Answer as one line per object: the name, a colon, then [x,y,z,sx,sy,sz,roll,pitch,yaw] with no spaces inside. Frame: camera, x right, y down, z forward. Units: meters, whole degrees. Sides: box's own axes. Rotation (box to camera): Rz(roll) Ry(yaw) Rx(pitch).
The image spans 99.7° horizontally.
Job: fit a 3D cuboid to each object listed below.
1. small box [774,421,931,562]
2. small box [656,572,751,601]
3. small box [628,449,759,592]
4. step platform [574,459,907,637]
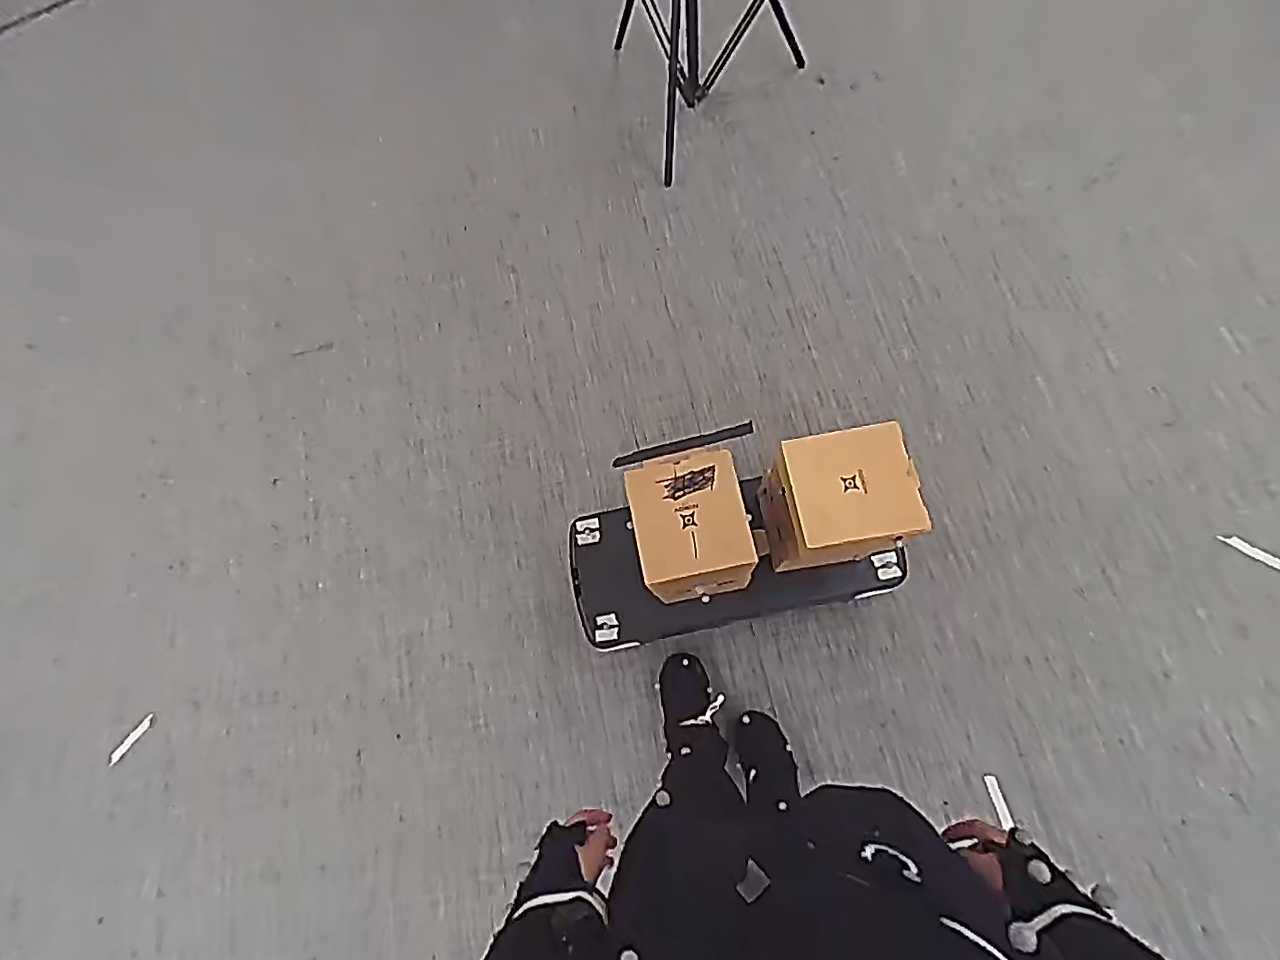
small box: [0.315,0.027,0.849,0.179,0.176,0.168,-10,72,3]
small box: [0.104,0.122,1.018,0.168,0.176,0.179,-12,72,4]
small box: [0.082,0.072,0.862,0.168,0.176,0.179,-12,73,3]
step platform: [0.202,0.137,1.183,0.684,0.204,0.286,-13,72,4]
